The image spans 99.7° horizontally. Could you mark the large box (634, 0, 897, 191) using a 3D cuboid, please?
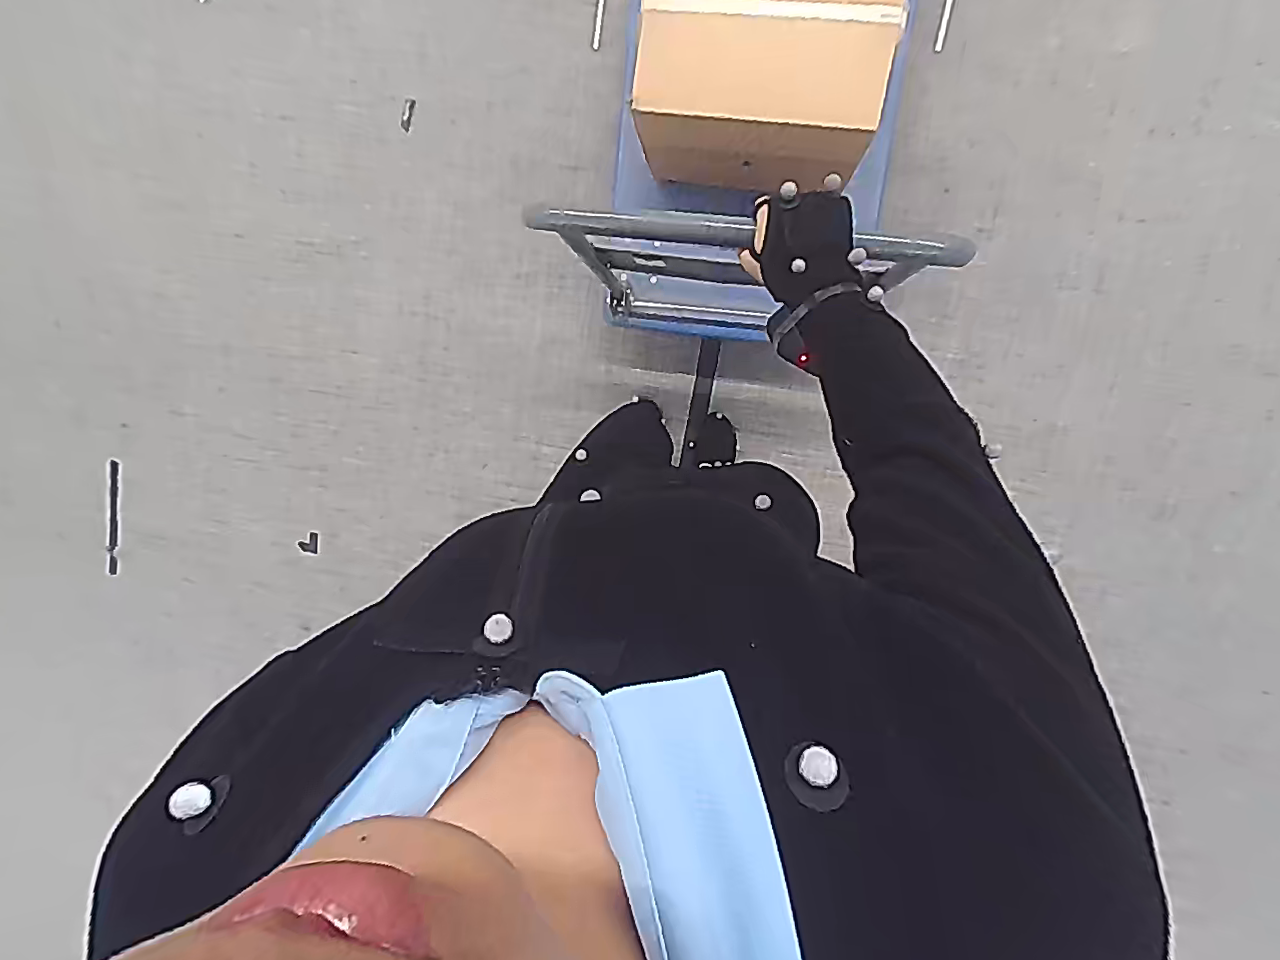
[{"bbox_3d":[0.227,-0.768,1.012,0.408,0.320,0.320,10,100,8],"label":"large box"}]
